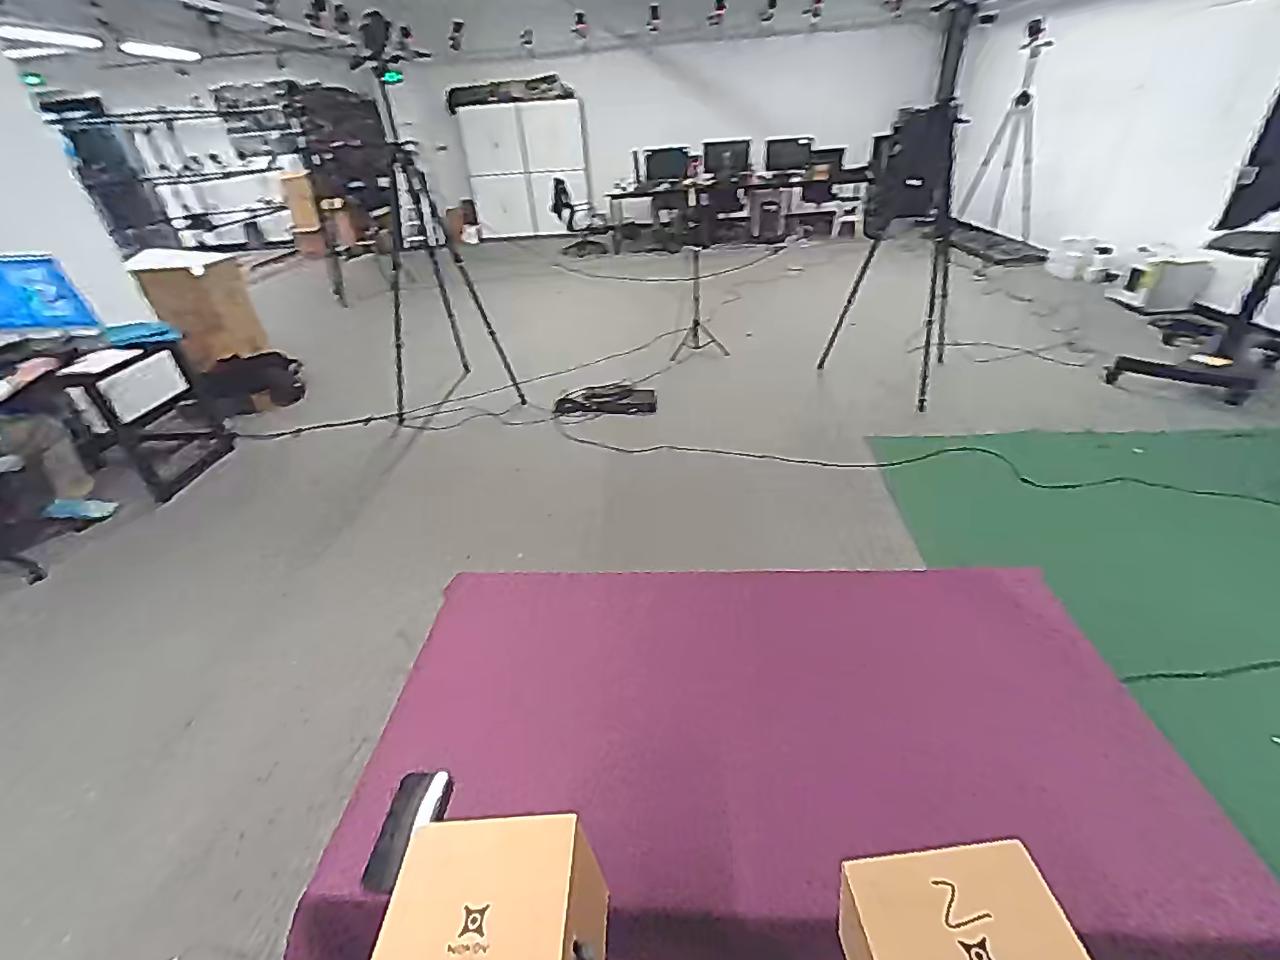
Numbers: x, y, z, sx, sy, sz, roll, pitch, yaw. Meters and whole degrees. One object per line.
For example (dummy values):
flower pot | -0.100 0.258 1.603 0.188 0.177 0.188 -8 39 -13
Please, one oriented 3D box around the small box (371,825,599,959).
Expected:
small box | -0.135 0.457 0.501 0.168 0.176 0.179 -7 33 4
